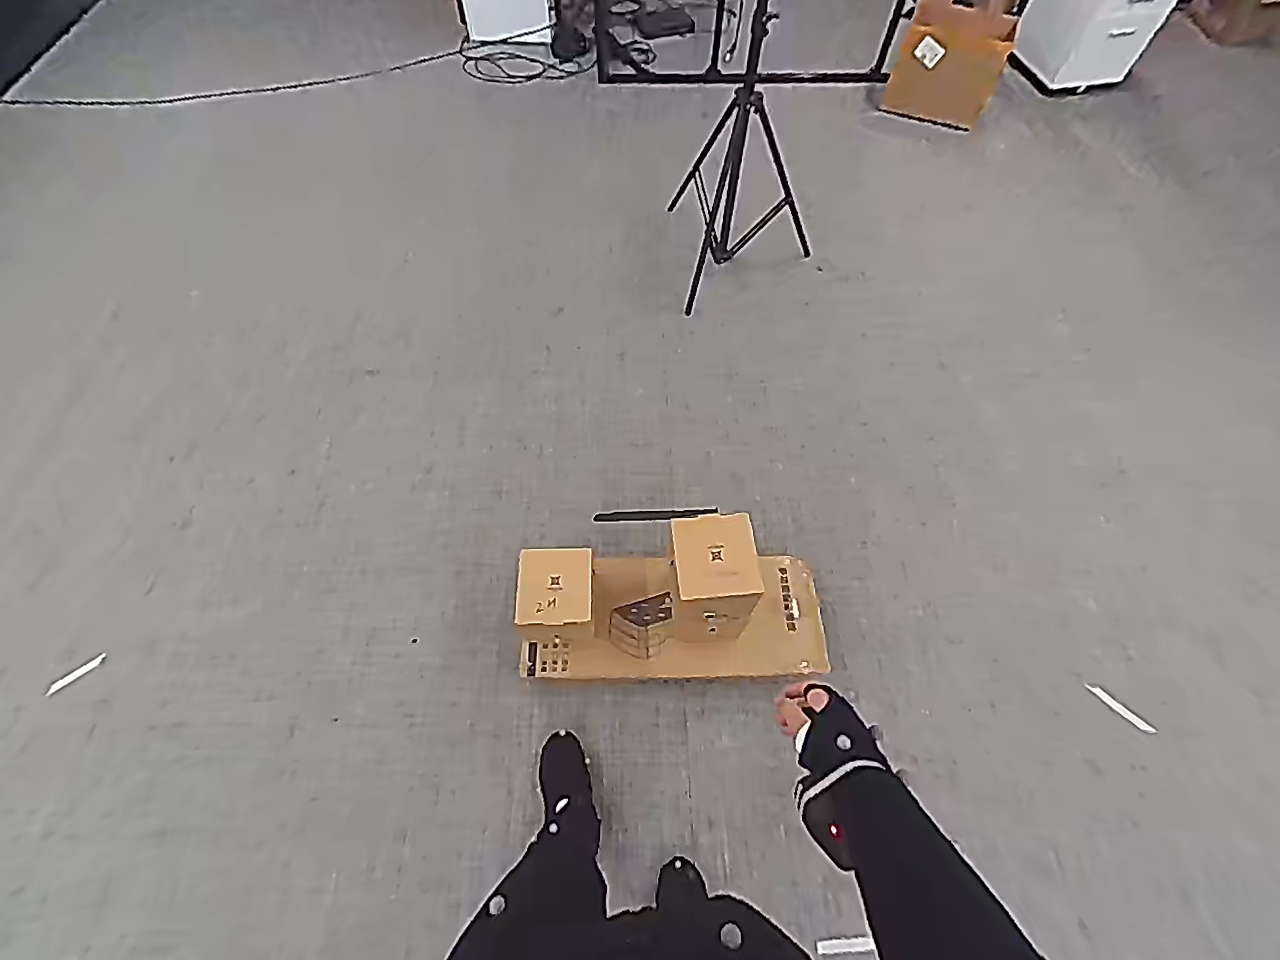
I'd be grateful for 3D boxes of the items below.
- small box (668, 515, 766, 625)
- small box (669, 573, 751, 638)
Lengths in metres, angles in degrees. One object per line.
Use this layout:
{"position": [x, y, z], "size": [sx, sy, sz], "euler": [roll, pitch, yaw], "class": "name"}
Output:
{"position": [0.152, 0.193, 1.142], "size": [0.168, 0.176, 0.179], "euler": [-6, 61, -3], "class": "small box"}
{"position": [0.159, 0.274, 1.284], "size": [0.168, 0.176, 0.179], "euler": [-3, 61, -2], "class": "small box"}
